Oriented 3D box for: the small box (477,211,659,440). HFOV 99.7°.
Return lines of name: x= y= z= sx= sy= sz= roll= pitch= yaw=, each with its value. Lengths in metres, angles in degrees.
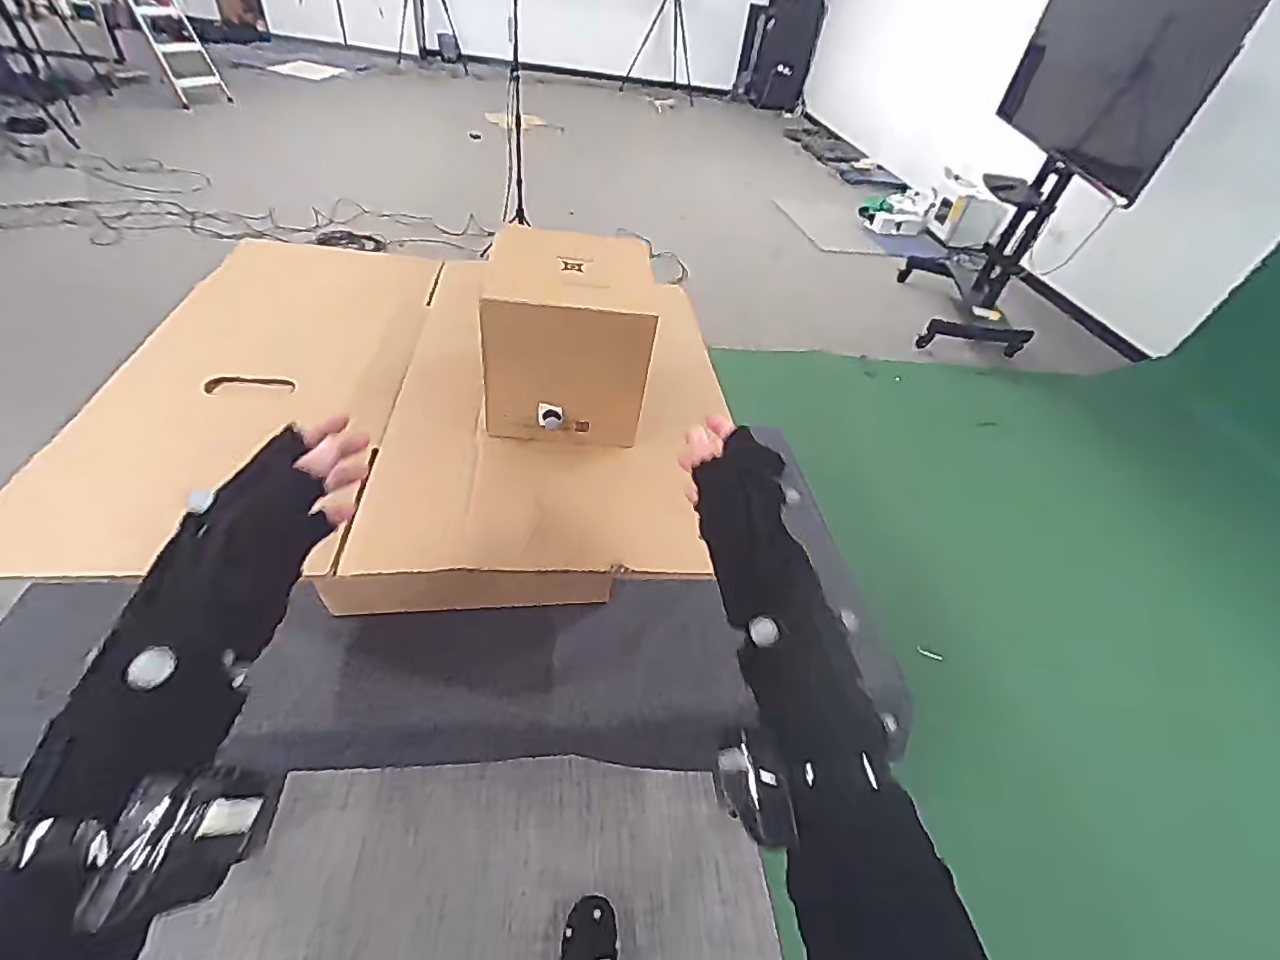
small box: x=-0.081 y=-0.167 z=0.595 sx=0.168 sy=0.176 sz=0.179 roll=2 pitch=46 yaw=-9
